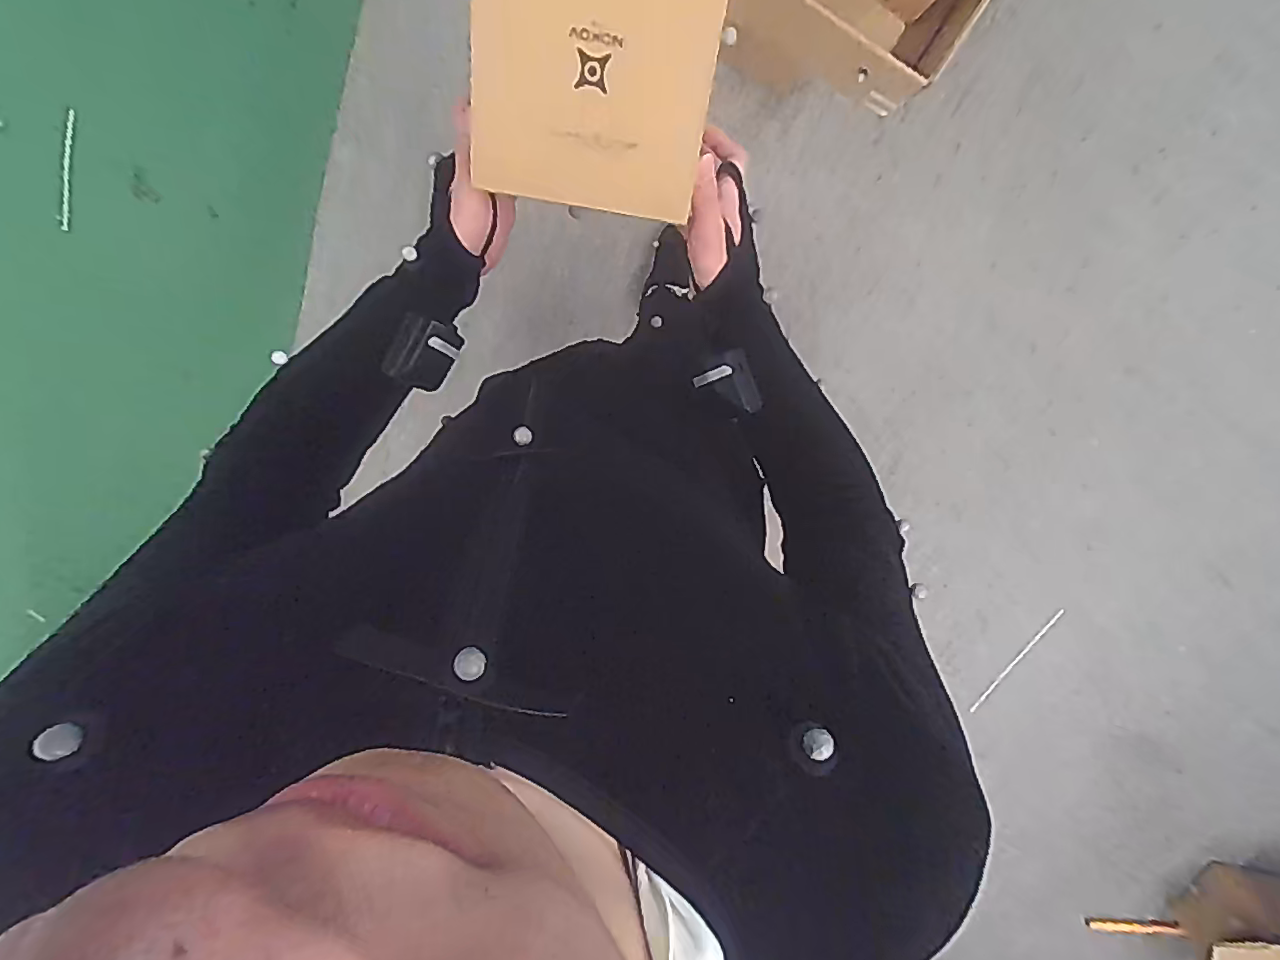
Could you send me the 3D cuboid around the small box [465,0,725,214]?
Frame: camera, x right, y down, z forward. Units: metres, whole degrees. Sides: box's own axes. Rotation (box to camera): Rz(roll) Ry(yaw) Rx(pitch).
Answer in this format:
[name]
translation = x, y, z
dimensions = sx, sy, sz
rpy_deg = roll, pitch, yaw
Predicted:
[small box]
translation = -0.031, -0.324, 0.427
dimensions = 0.168, 0.176, 0.179
rpy_deg = 9, 119, -2
